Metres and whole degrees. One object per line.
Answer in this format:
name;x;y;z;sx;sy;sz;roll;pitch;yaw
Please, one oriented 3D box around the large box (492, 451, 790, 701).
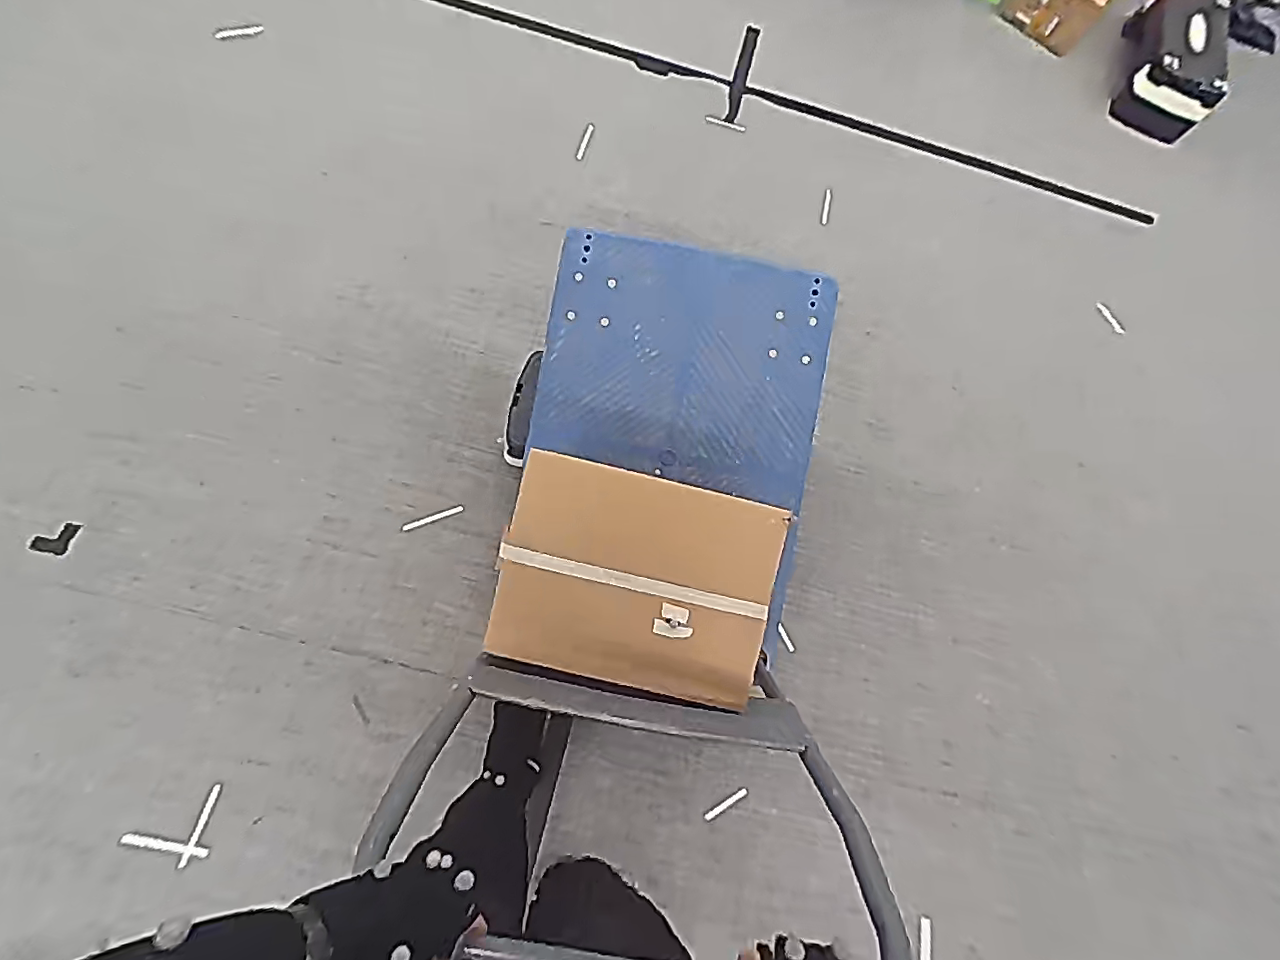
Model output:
large box;-0.005;0.147;0.961;0.408;0.320;0.320;14;90;-2
